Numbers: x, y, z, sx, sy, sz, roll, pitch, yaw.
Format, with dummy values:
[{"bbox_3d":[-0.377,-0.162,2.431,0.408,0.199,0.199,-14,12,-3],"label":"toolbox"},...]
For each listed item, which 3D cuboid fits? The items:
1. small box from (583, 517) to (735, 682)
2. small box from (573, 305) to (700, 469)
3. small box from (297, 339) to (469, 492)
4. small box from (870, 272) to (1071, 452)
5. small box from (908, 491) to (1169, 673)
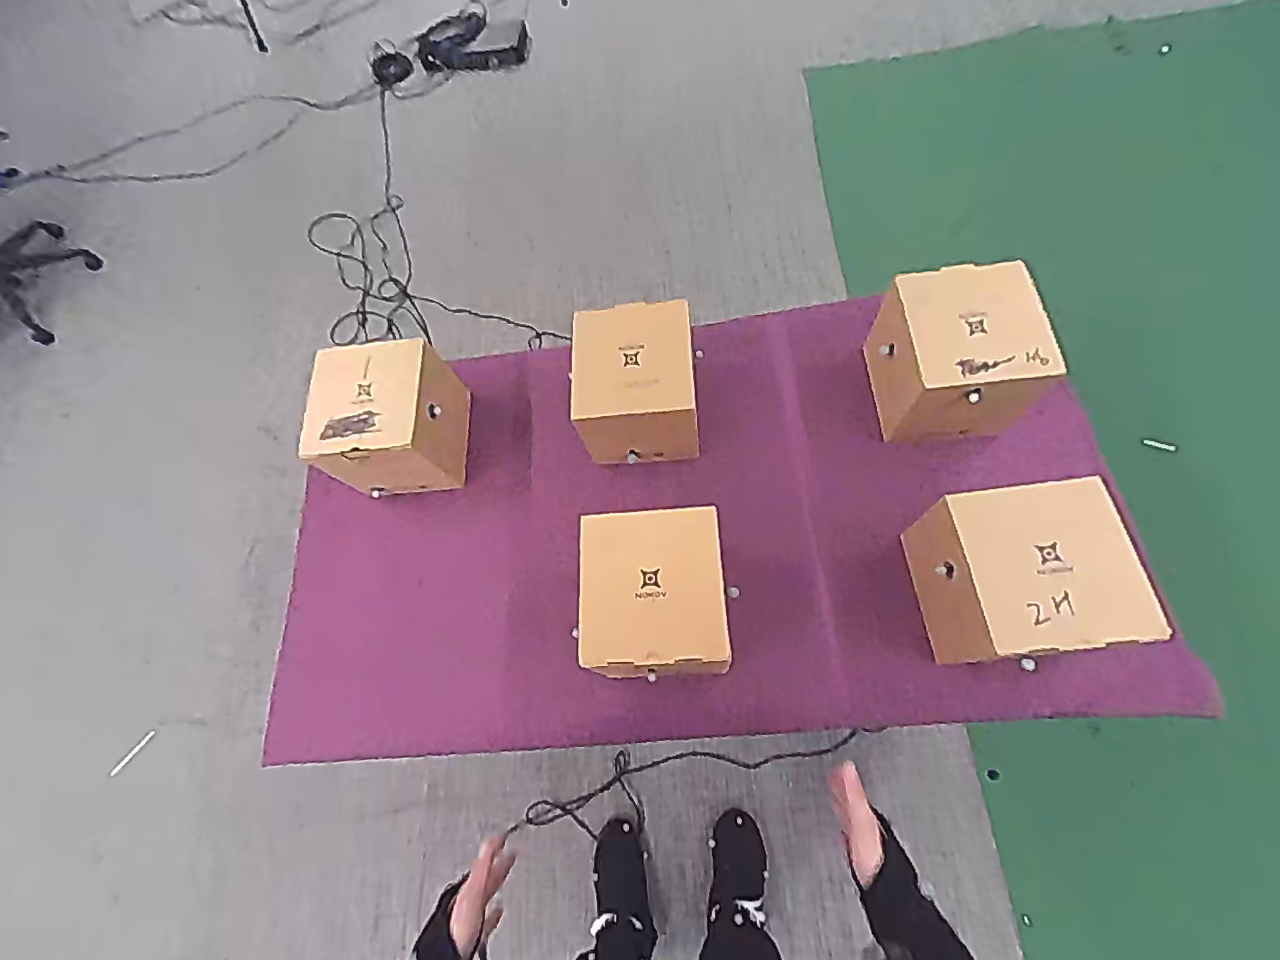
[{"bbox_3d":[0.025,0.157,0.682,0.168,0.176,0.179,-4,68,5],"label":"small box"},{"bbox_3d":[0.003,-0.129,0.793,0.168,0.176,0.179,-3,70,6],"label":"small box"},{"bbox_3d":[-0.372,-0.086,0.816,0.168,0.176,0.179,-4,70,4],"label":"small box"},{"bbox_3d":[0.436,-0.156,0.751,0.168,0.176,0.179,-5,69,6],"label":"small box"},{"bbox_3d":[0.441,0.128,0.639,0.168,0.176,0.179,-7,69,6],"label":"small box"}]
